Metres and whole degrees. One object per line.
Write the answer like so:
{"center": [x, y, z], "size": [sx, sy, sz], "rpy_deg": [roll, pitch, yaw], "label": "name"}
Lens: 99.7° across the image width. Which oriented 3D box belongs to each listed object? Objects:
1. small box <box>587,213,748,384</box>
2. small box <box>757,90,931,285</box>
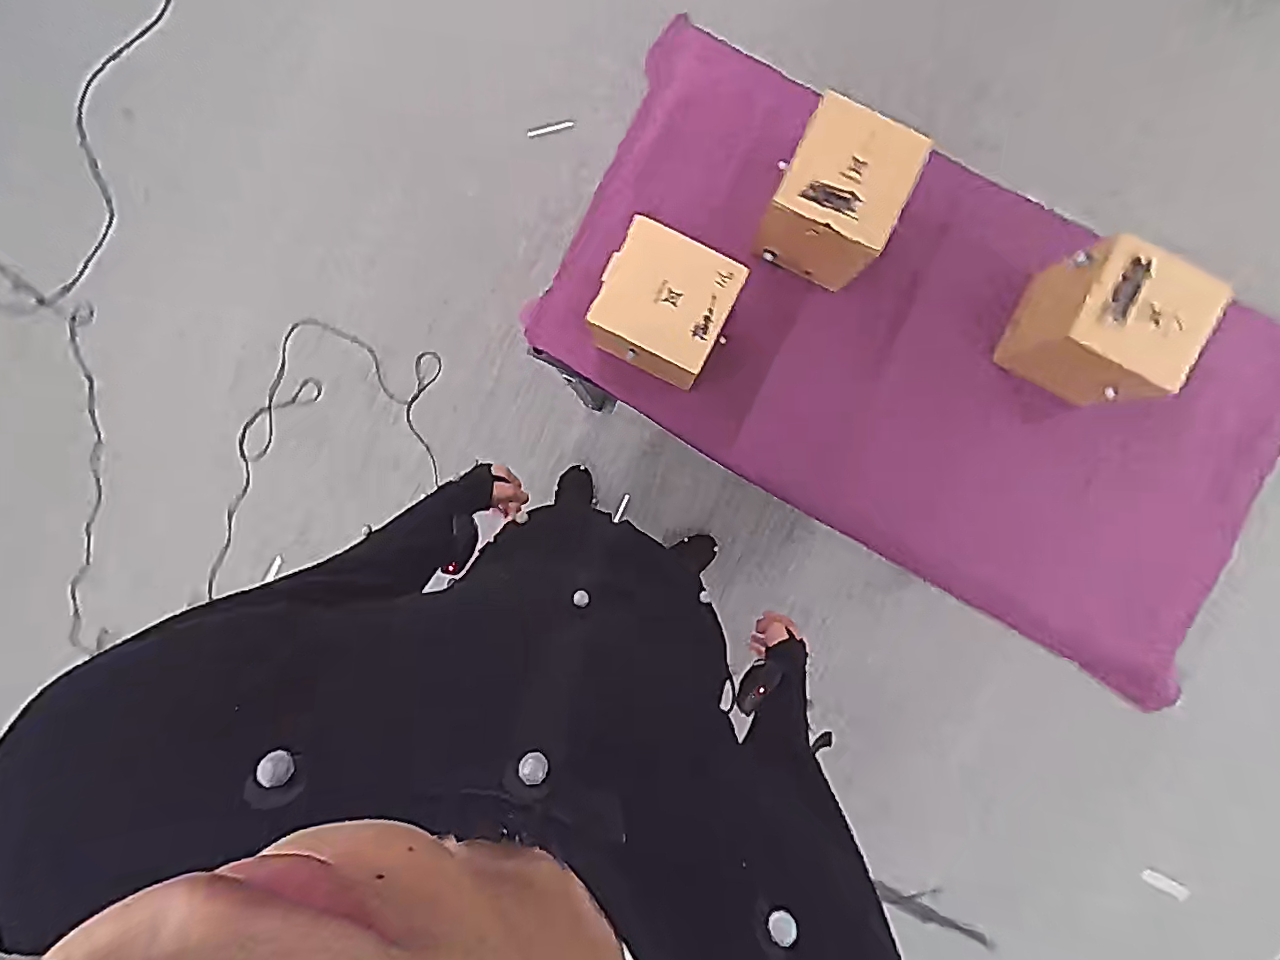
{"center": [0.039, -0.262, 0.829], "size": [0.179, 0.176, 0.168], "rpy_deg": [27, 91, 0], "label": "small box"}
{"center": [0.295, -0.429, 0.828], "size": [0.168, 0.176, 0.179], "rpy_deg": [26, 91, 0], "label": "small box"}
